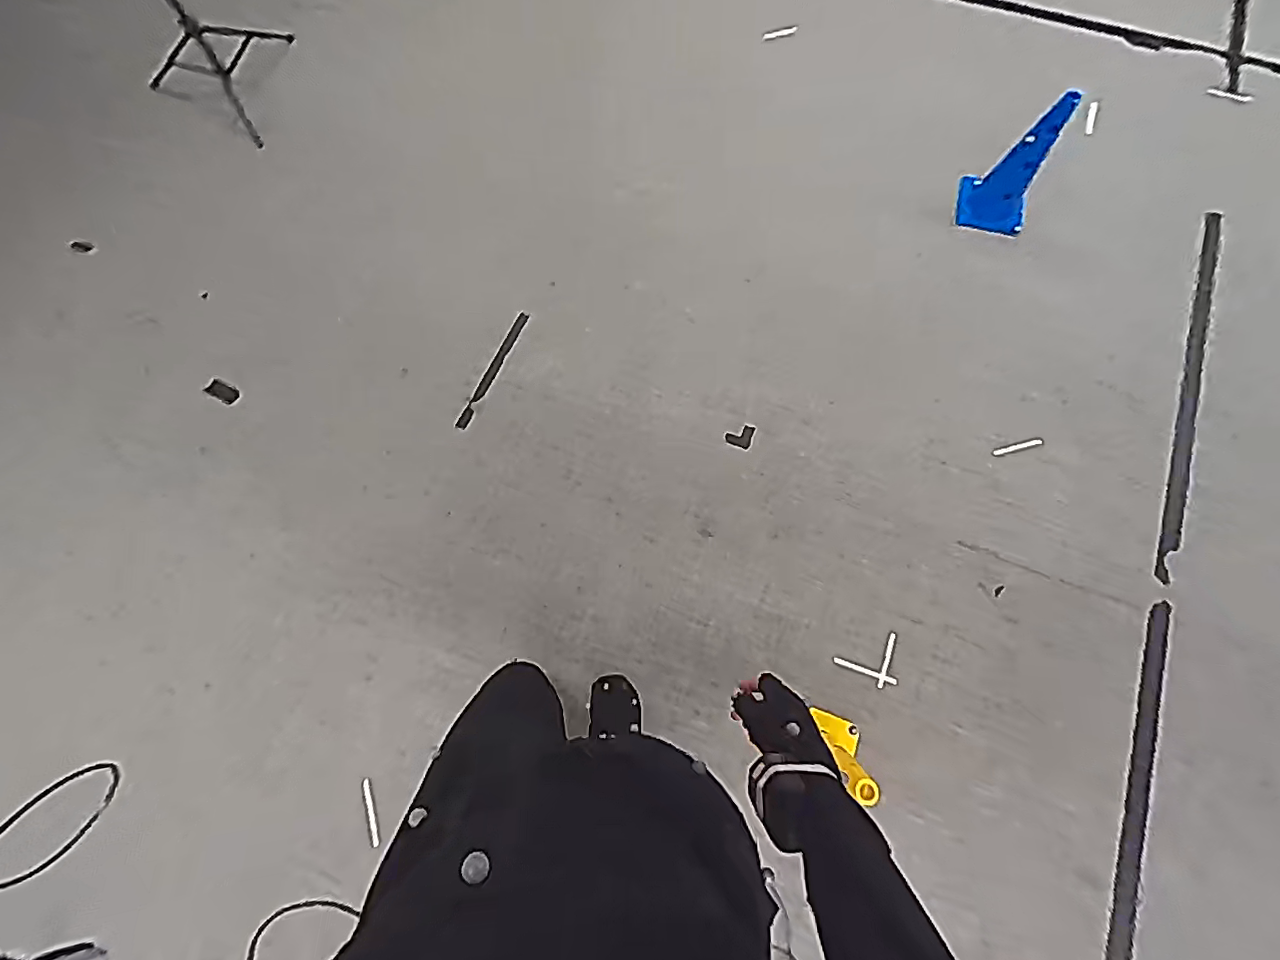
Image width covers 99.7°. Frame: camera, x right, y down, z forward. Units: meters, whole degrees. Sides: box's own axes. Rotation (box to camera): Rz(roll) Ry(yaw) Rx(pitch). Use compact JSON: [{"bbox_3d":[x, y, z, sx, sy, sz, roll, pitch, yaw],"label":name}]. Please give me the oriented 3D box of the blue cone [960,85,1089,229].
[{"bbox_3d":[1.099,-0.922,1.530,0.192,0.380,0.193,16,74,5],"label":"blue cone"}]
